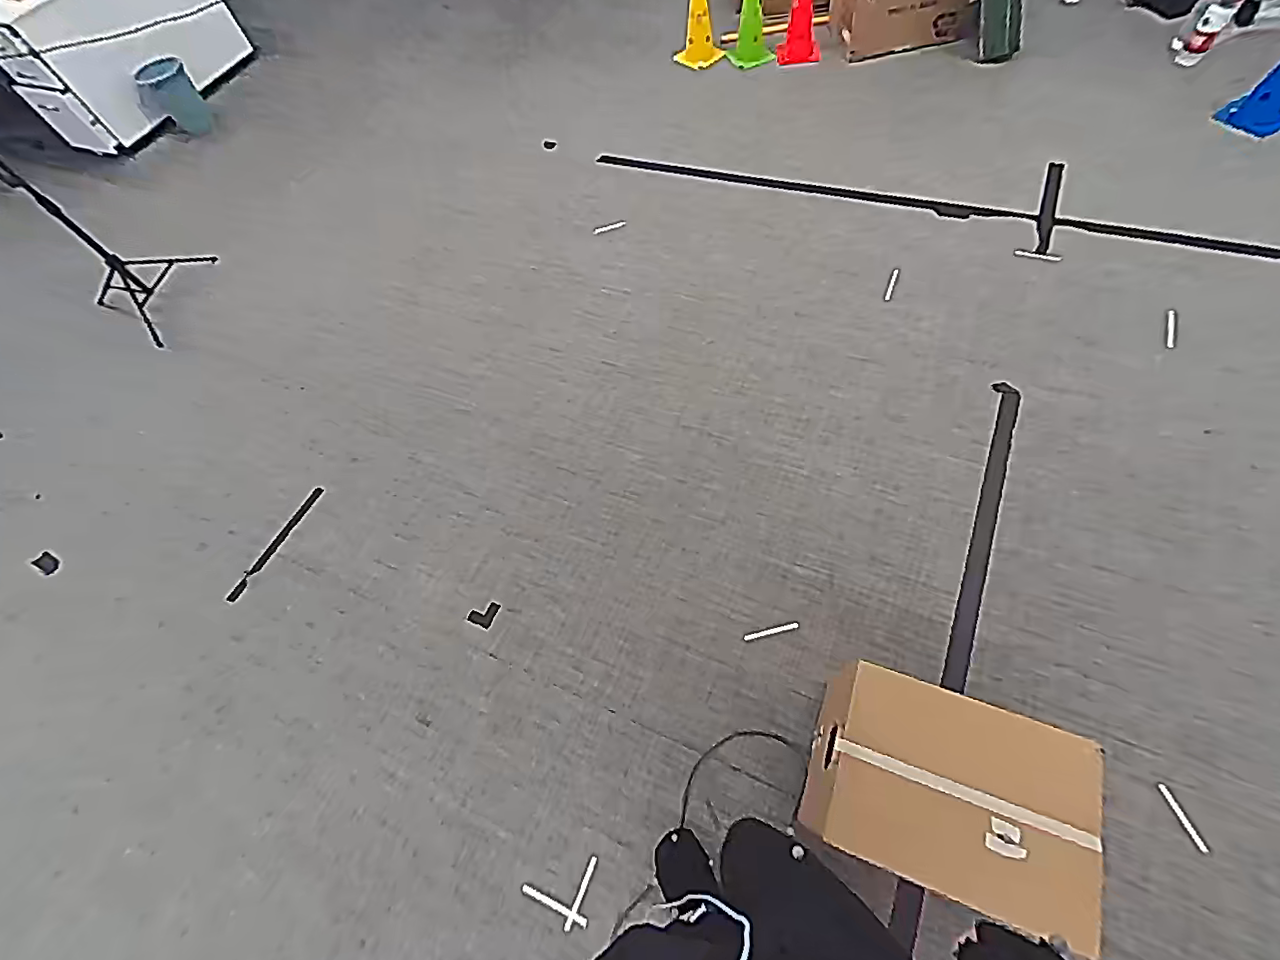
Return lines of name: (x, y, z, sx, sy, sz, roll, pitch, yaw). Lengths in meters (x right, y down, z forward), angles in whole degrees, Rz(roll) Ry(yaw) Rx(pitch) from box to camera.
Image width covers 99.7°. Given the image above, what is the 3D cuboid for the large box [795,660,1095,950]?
large box: (0.548, 0.586, 1.038, 0.408, 0.320, 0.320, 17, 67, 15)
